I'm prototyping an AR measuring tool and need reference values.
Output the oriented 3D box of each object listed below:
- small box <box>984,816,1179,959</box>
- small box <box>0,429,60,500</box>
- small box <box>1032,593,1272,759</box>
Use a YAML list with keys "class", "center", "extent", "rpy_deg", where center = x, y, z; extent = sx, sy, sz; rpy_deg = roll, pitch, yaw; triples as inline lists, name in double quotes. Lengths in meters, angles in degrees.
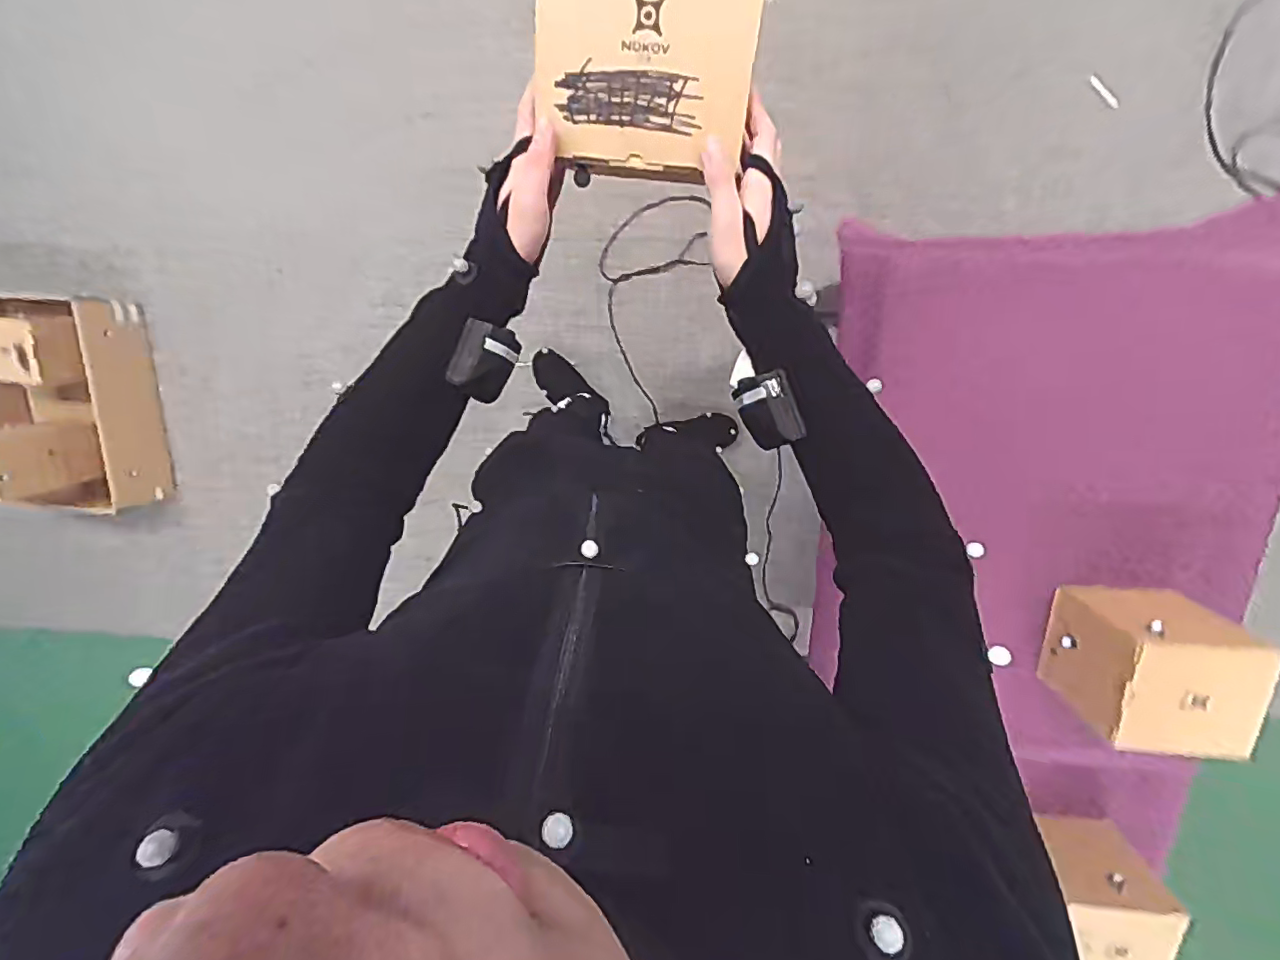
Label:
- class: "small box"
  center: [0.728, 0.706, 0.914]
  extent: [0.179, 0.176, 0.168]
  rpy_deg: [3, 104, 4]
- class: "small box"
  center: [-1.729, -0.040, 1.439]
  extent: [0.179, 0.176, 0.168]
  rpy_deg: [2, 106, 5]
- class: "small box"
  center: [0.738, 0.280, 0.803]
  extent: [0.179, 0.176, 0.168]
  rpy_deg: [2, 105, 5]
